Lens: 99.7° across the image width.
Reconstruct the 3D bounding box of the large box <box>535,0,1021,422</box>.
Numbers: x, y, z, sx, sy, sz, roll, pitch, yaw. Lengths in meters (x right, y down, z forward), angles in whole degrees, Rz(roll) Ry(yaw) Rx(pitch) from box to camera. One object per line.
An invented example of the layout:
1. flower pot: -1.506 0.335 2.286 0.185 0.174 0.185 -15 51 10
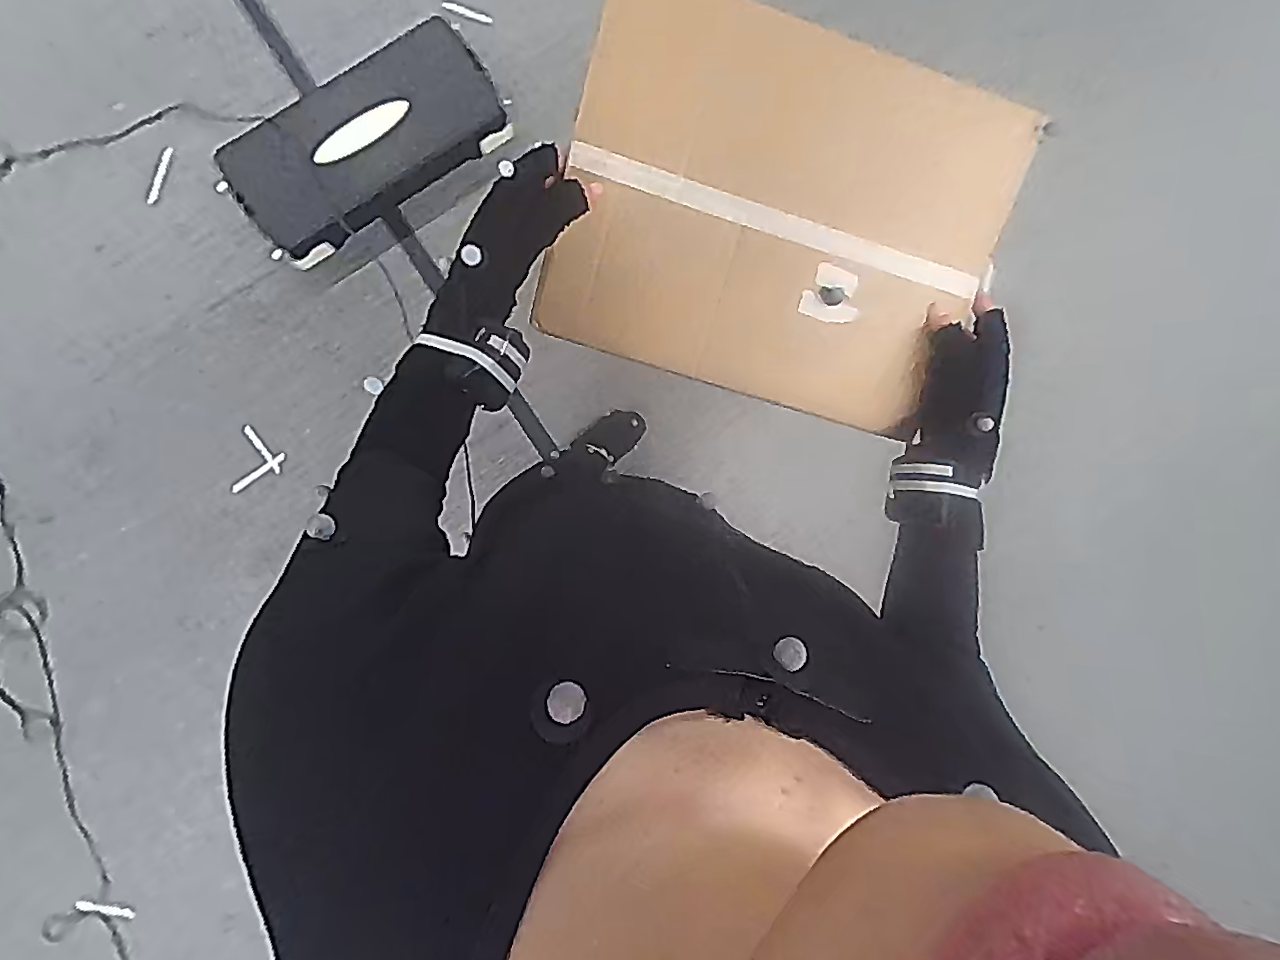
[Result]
1. large box: 0.113 -0.282 0.650 0.408 0.320 0.320 14 104 -7
